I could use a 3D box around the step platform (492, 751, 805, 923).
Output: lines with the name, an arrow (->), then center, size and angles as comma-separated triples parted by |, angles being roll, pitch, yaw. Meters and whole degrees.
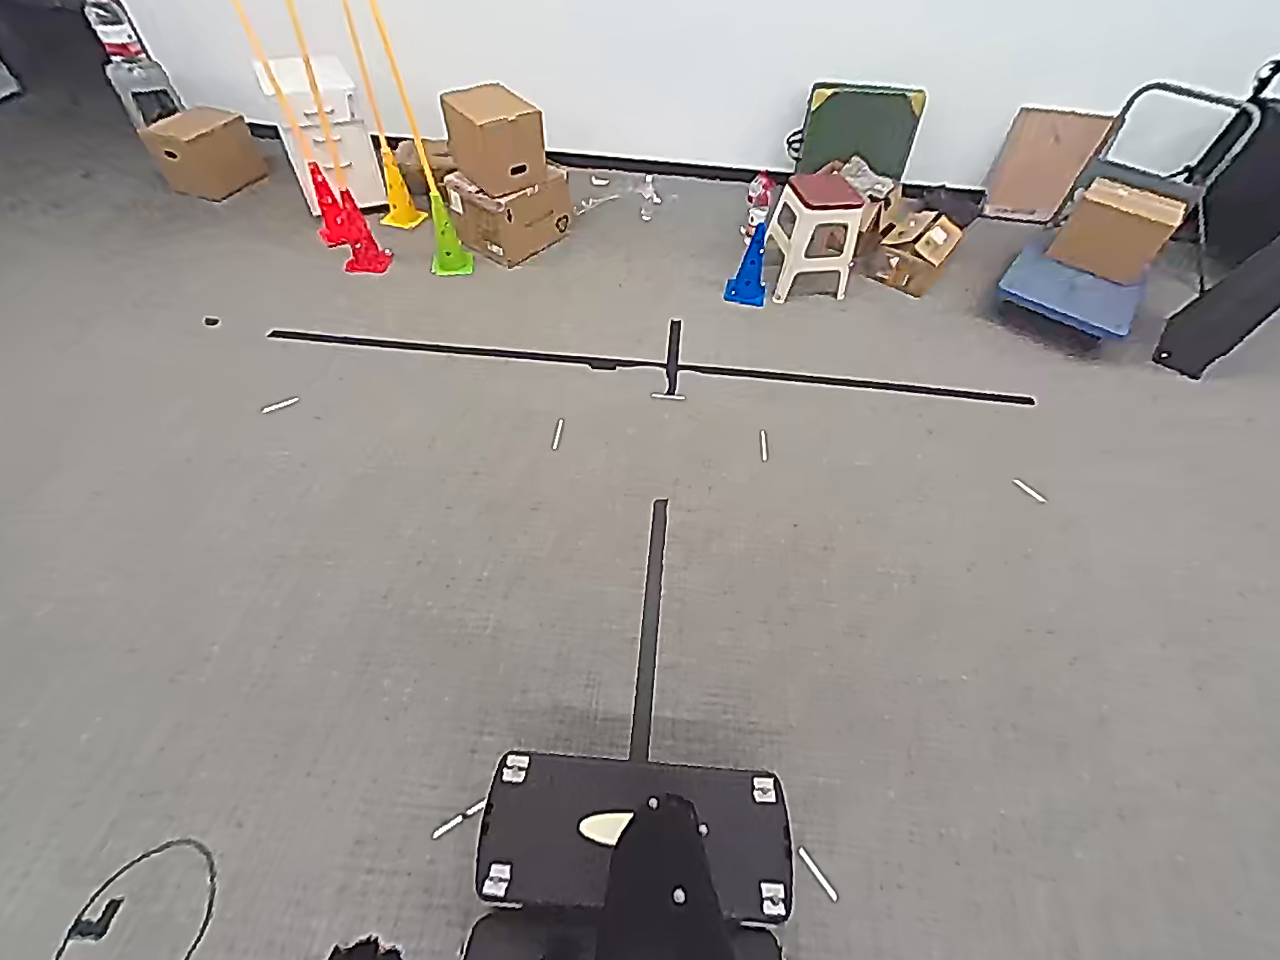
step platform -> 0.020, 0.805, 1.232 | 0.684, 0.204, 0.286 | 5, 52, -1
